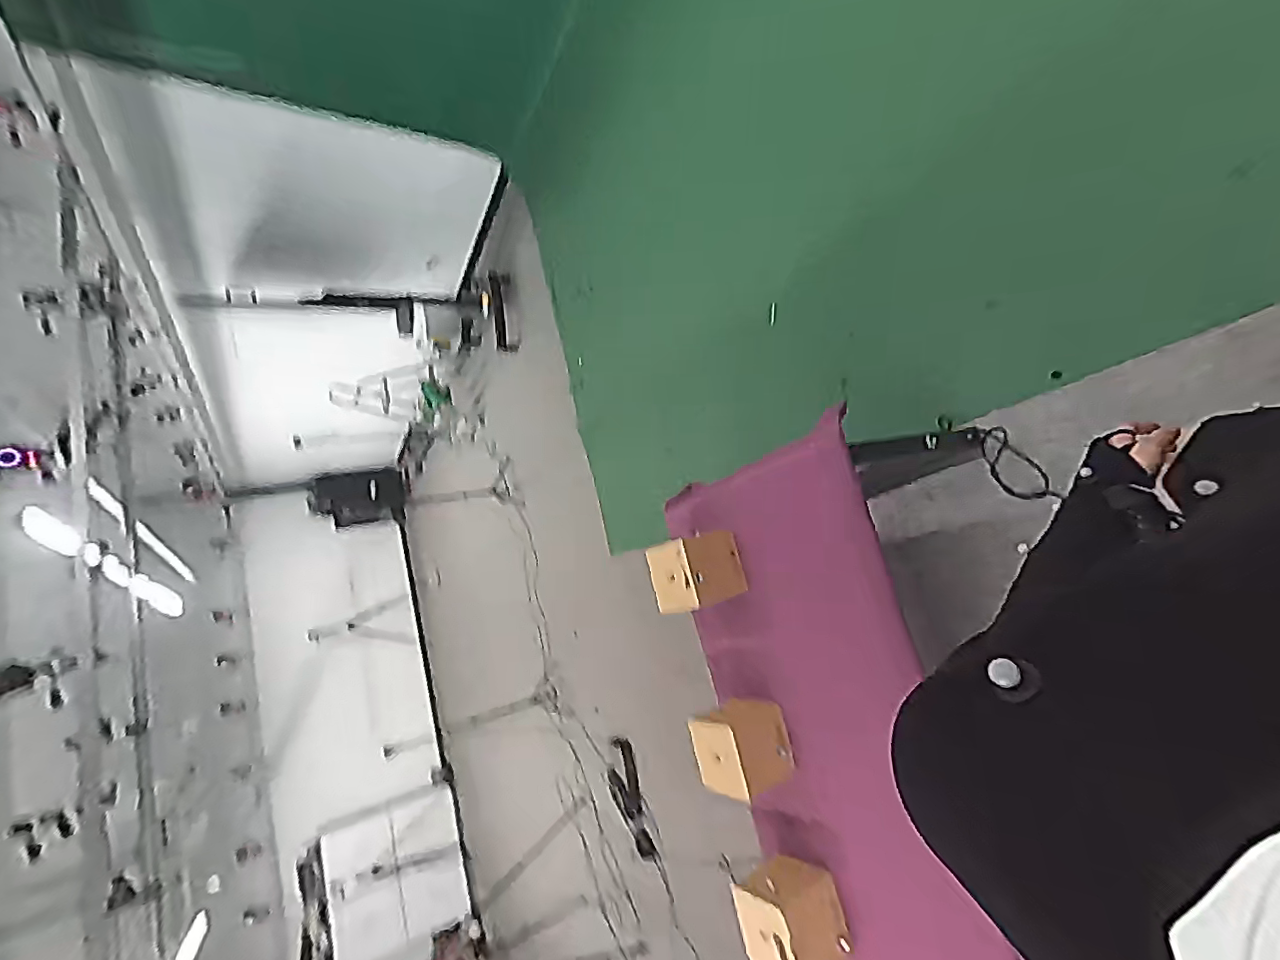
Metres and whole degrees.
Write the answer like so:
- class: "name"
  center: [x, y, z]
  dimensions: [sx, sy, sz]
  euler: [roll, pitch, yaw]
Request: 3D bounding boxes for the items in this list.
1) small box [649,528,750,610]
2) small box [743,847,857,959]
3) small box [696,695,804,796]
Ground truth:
- class: "small box"
  center: [0.155, 0.234, 1.416]
  dimensions: [0.179, 0.176, 0.168]
  euler: [-30, 74, 55]
- class: "small box"
  center: [0.380, 1.002, 1.267]
  dimensions: [0.179, 0.176, 0.168]
  euler: [-30, 72, 54]
- class: "small box"
  center: [0.272, 0.649, 1.348]
  dimensions: [0.179, 0.176, 0.168]
  euler: [-27, 76, 54]
